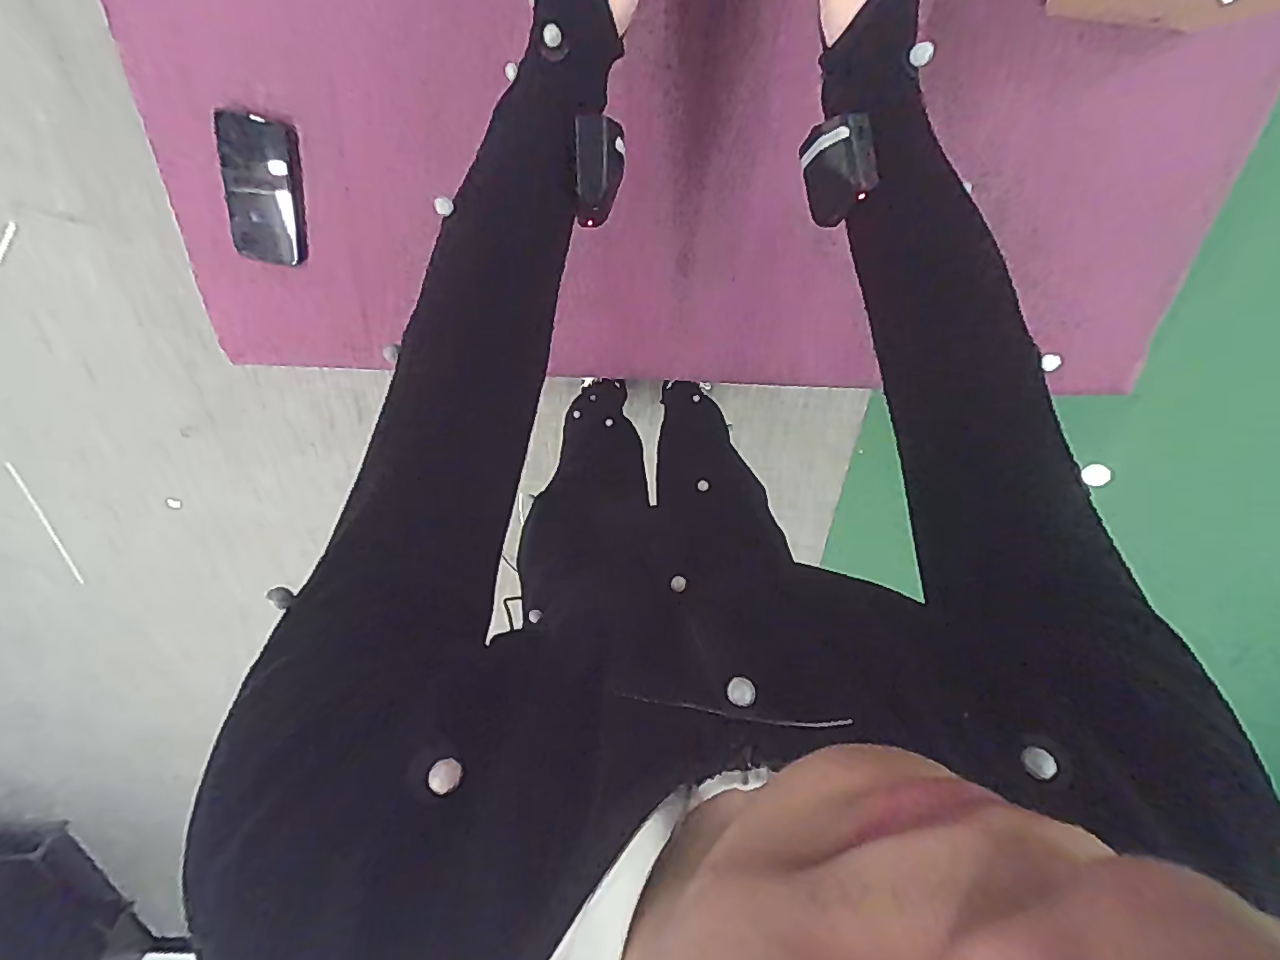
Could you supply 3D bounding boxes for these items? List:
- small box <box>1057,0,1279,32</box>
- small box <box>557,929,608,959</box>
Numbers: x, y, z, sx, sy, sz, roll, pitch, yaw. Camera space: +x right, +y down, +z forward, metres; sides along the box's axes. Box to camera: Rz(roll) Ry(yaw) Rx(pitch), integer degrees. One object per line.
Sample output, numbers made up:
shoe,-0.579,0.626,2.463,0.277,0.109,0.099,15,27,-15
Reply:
small box,0.486,-0.492,0.426,0.168,0.176,0.179,5,119,-2
small box,-0.197,1.643,1.804,0.168,0.176,0.179,5,119,-4
